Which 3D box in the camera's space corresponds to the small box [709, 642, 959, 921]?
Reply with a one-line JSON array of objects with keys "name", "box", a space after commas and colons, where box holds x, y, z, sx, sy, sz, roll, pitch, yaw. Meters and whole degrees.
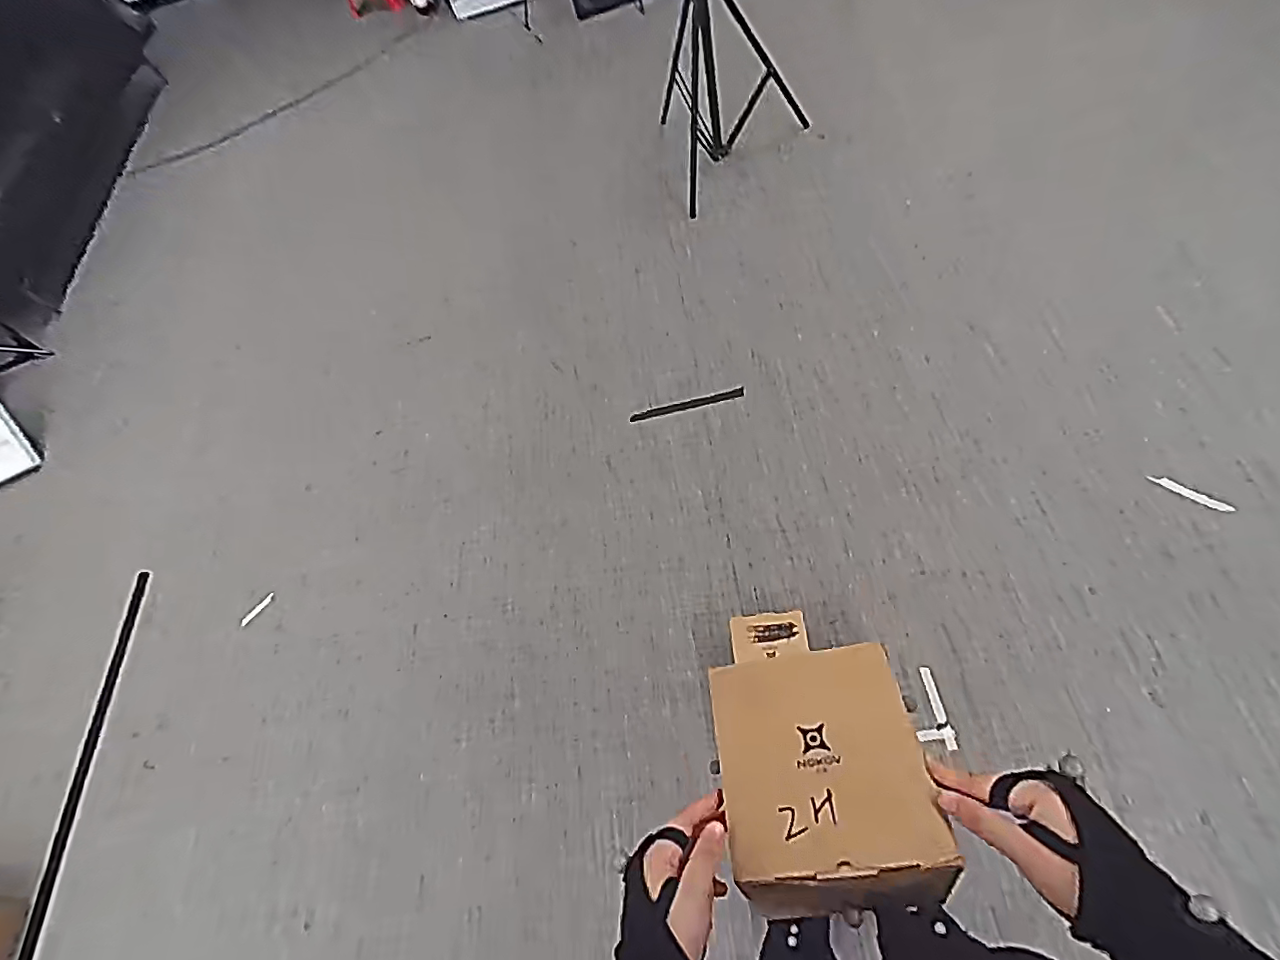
[{"name": "small box", "box": [0.168, 0.282, 0.506, 0.168, 0.176, 0.179, -14, 41, 11]}]
